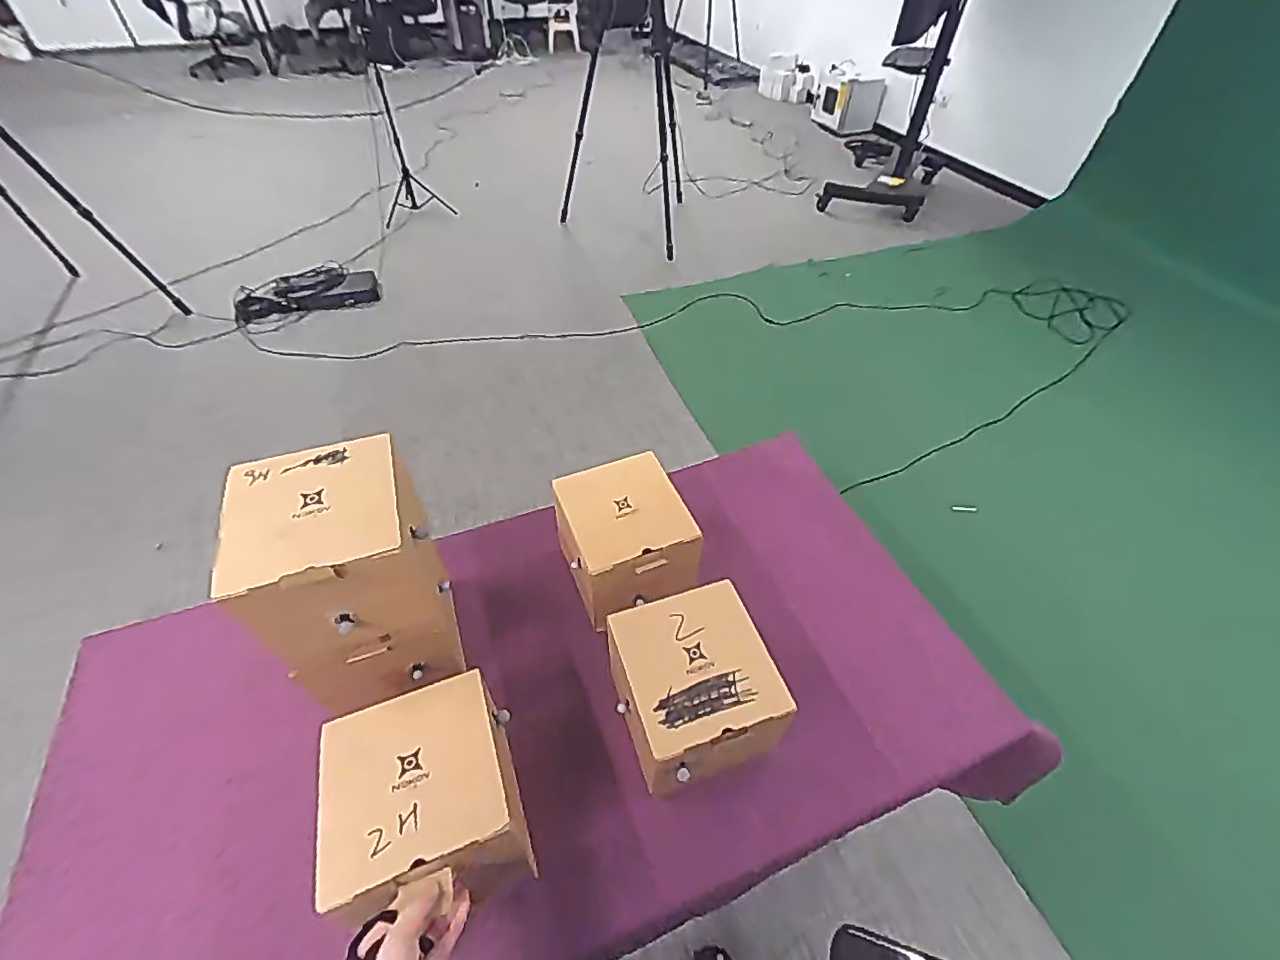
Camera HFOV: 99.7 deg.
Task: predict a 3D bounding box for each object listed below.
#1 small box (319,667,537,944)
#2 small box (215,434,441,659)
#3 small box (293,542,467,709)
[{"bbox_3d":[-0.219,0.344,0.581,0.168,0.176,0.179,-16,42,-16],"label":"small box"},{"bbox_3d":[-0.335,0.081,0.611,0.168,0.176,0.179,-15,51,-15],"label":"small box"},{"bbox_3d":[-0.344,0.189,0.735,0.168,0.176,0.179,-15,51,-15],"label":"small box"}]
